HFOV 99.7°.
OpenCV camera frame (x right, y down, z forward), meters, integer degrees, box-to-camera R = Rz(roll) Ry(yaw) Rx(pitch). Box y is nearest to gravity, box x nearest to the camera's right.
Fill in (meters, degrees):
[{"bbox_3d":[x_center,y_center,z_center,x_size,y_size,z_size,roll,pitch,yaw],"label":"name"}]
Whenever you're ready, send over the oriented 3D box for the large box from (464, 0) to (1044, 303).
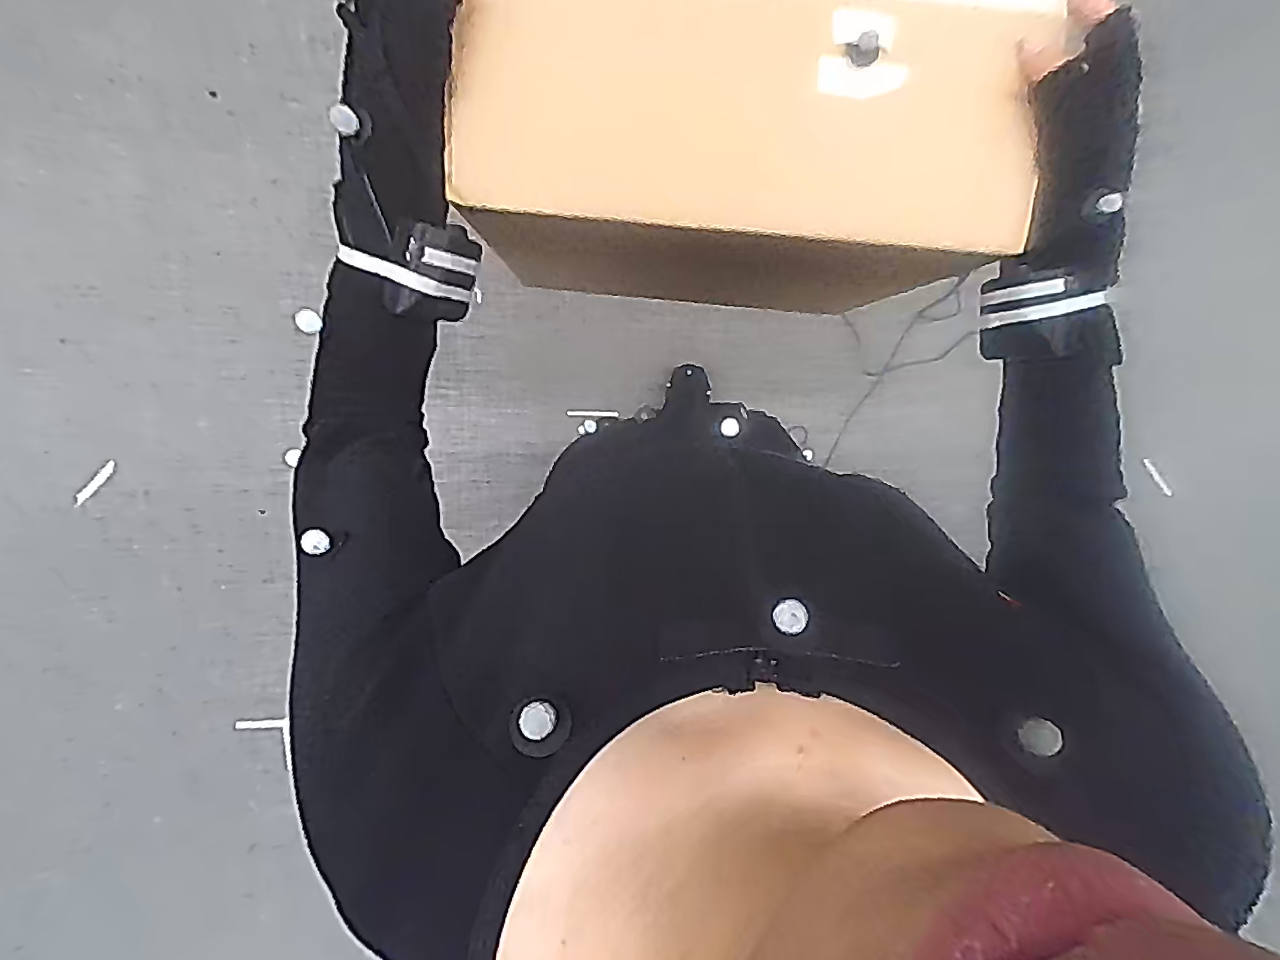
[{"bbox_3d":[0.073,-0.361,0.510,0.408,0.320,0.320,3,99,-4],"label":"large box"}]
